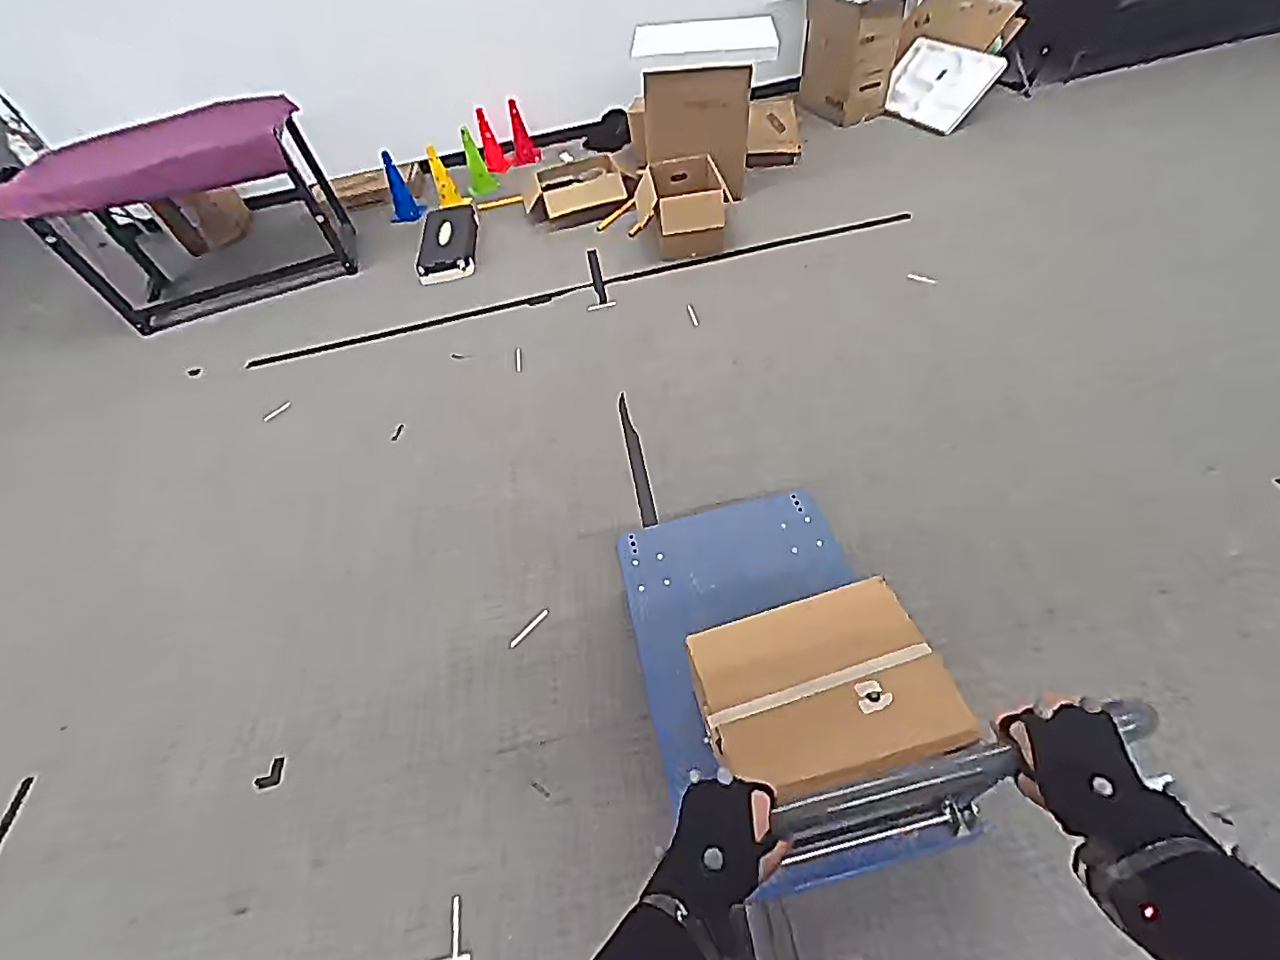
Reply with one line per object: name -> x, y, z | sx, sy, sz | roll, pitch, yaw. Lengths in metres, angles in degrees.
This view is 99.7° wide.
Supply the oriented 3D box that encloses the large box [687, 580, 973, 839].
large box -> 0.333, 0.457, 1.071 | 0.408, 0.320, 0.320 | -16, 51, -5
